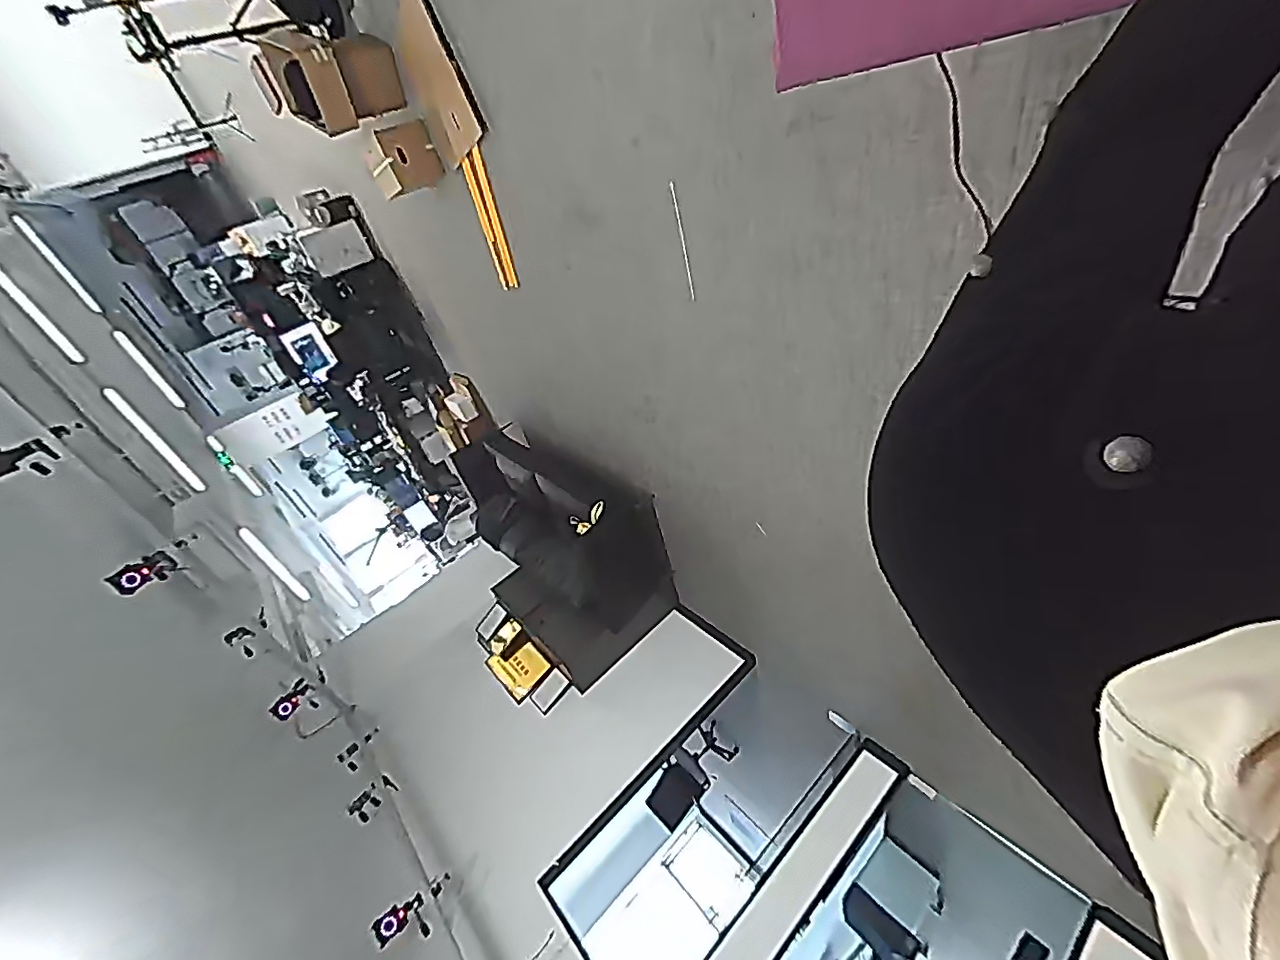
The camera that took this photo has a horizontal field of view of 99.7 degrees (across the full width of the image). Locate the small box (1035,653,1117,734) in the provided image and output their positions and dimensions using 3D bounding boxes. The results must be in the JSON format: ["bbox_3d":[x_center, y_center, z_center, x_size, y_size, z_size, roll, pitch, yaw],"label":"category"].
[{"bbox_3d":[1.560,0.758,1.934,0.168,0.176,0.179,31,148,42],"label":"small box"}]
